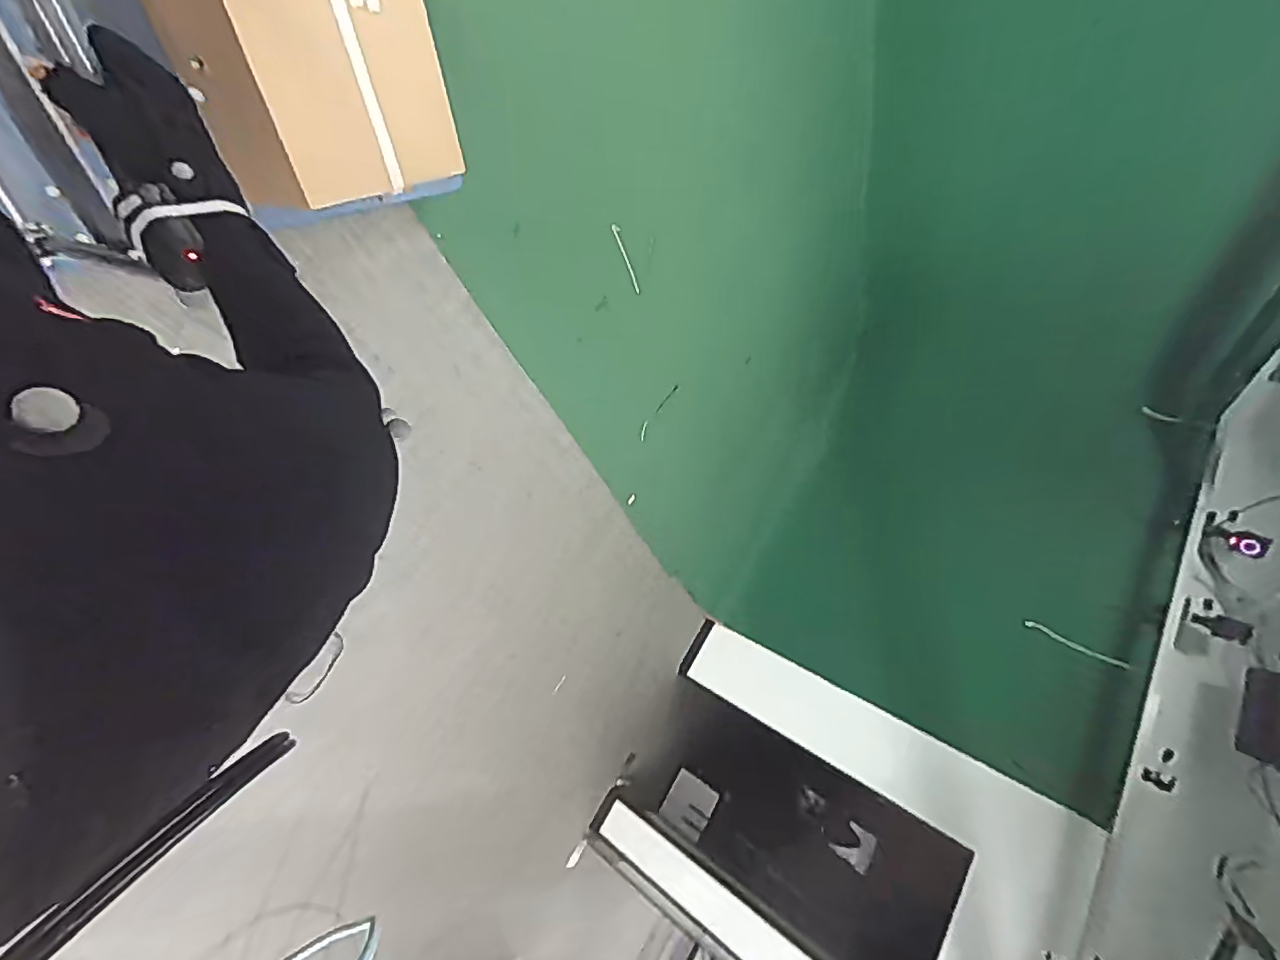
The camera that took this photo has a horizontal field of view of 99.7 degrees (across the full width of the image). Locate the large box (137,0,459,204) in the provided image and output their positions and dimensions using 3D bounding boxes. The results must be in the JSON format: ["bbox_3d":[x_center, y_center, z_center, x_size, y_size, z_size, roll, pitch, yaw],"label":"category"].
[{"bbox_3d":[-0.579,-0.725,0.913,0.320,0.320,0.408,-42,139,-36],"label":"large box"}]
